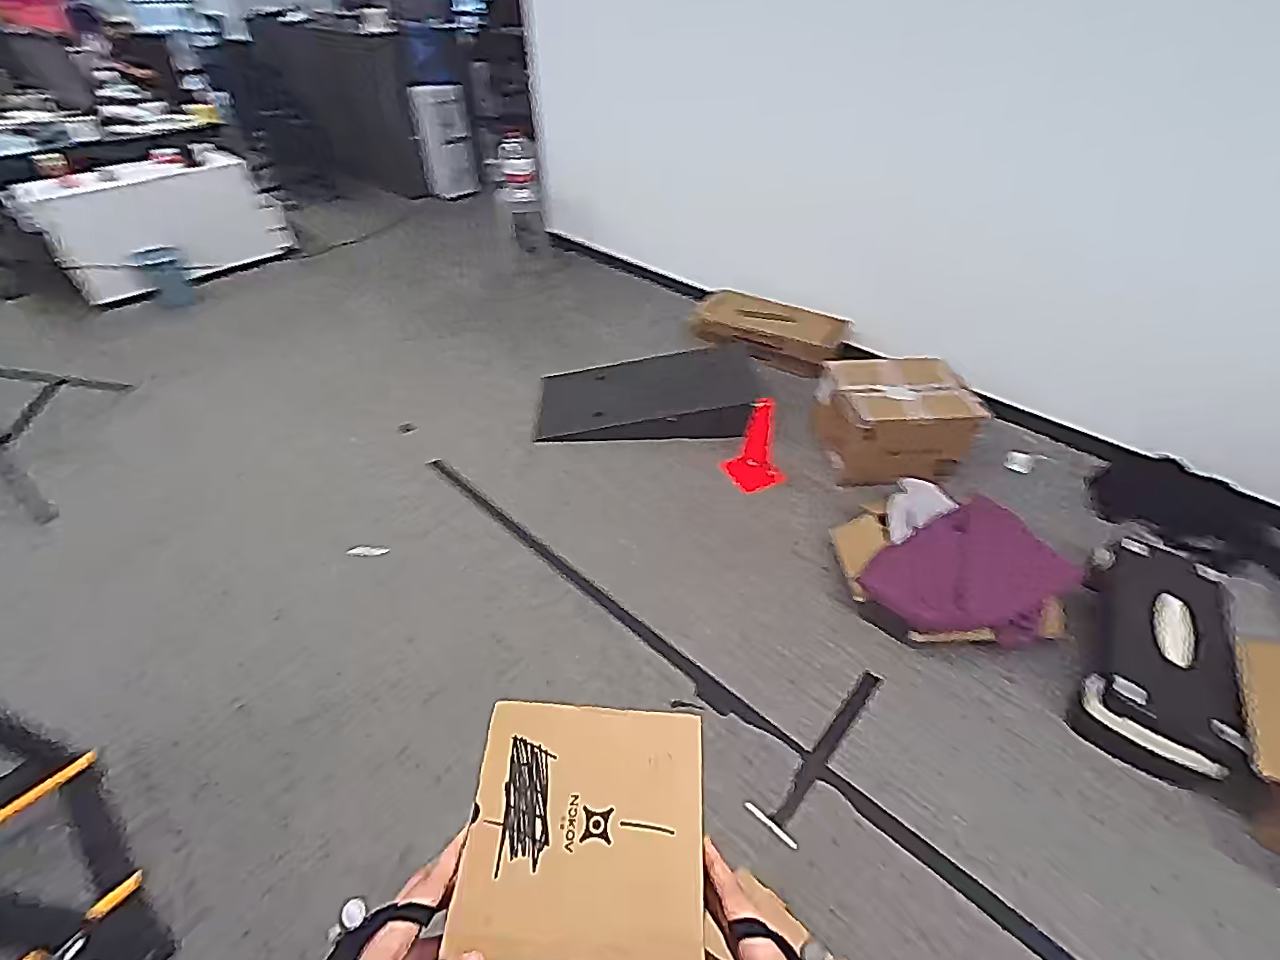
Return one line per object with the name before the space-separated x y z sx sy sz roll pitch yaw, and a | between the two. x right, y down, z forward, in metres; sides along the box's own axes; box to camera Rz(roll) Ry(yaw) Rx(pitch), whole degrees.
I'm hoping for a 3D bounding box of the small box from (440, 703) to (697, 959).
small box | -0.044 0.308 0.469 0.179 0.176 0.168 2 50 1
